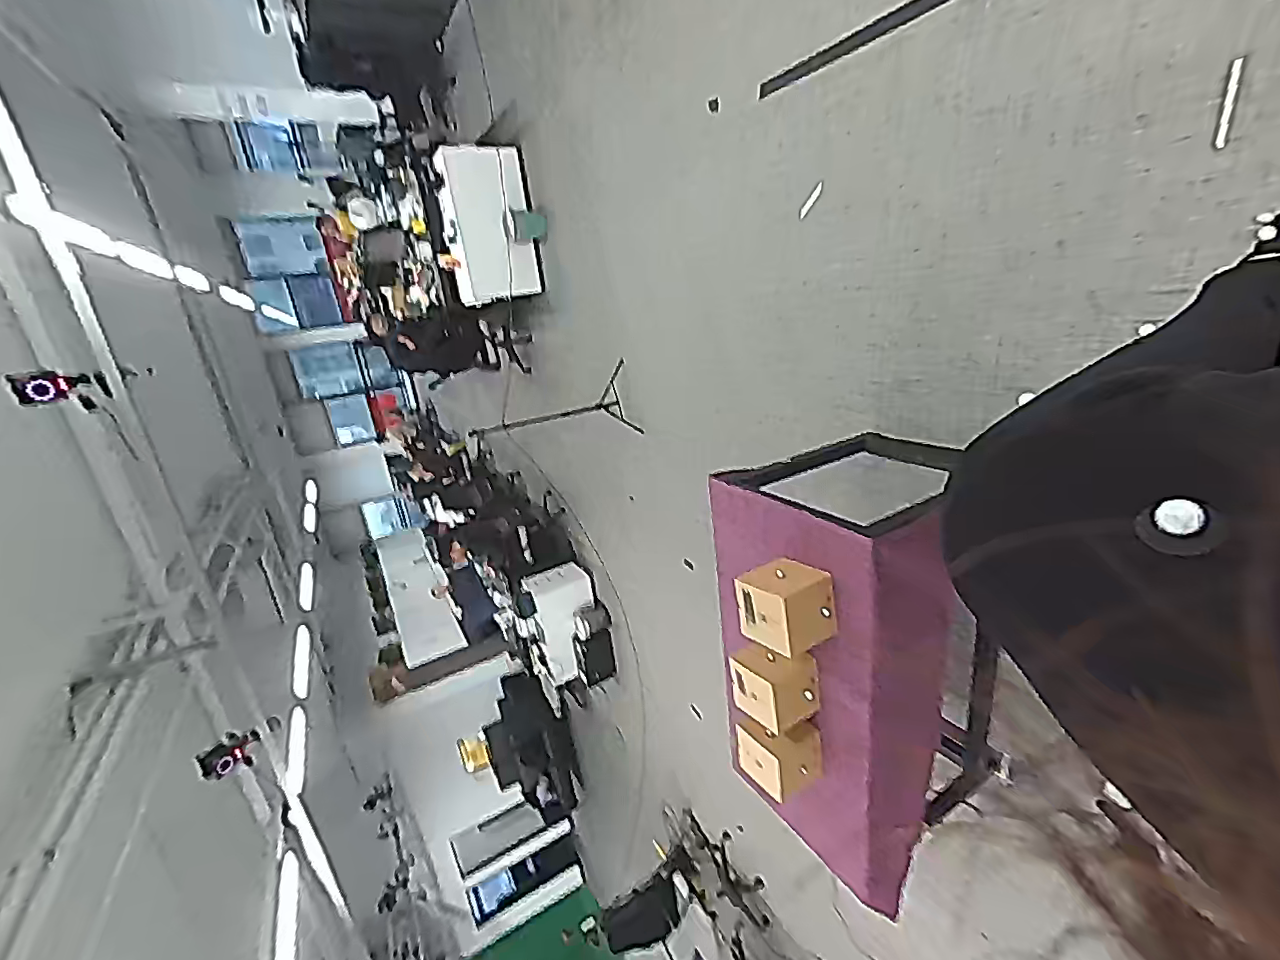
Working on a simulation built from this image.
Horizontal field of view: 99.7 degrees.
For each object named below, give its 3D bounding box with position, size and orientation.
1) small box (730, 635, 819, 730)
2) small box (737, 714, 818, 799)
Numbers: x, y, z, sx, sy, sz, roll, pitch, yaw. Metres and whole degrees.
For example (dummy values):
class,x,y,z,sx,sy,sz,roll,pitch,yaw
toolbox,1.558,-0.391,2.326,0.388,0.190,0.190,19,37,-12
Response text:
class,x,y,z,sx,sy,sz,roll,pitch,yaw
small box,0.382,0.563,1.539,0.179,0.176,0.168,16,120,59
small box,0.414,0.792,1.613,0.179,0.176,0.168,23,125,57
